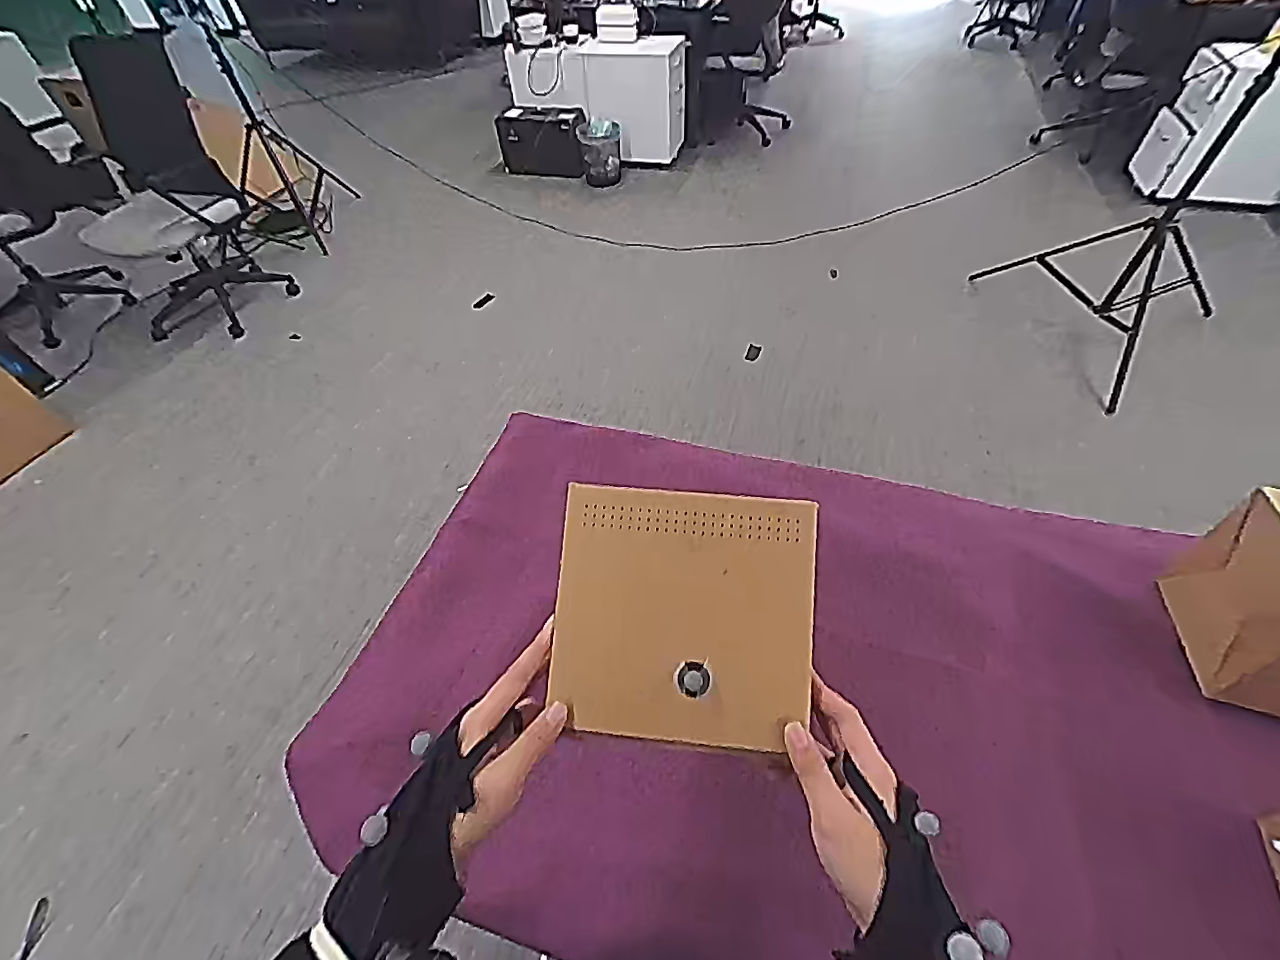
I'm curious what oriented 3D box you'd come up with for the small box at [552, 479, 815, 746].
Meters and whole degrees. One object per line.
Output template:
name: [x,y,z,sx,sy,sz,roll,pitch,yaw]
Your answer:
small box: [0.037,0.096,0.442,0.179,0.168,0.176,5,79,4]
